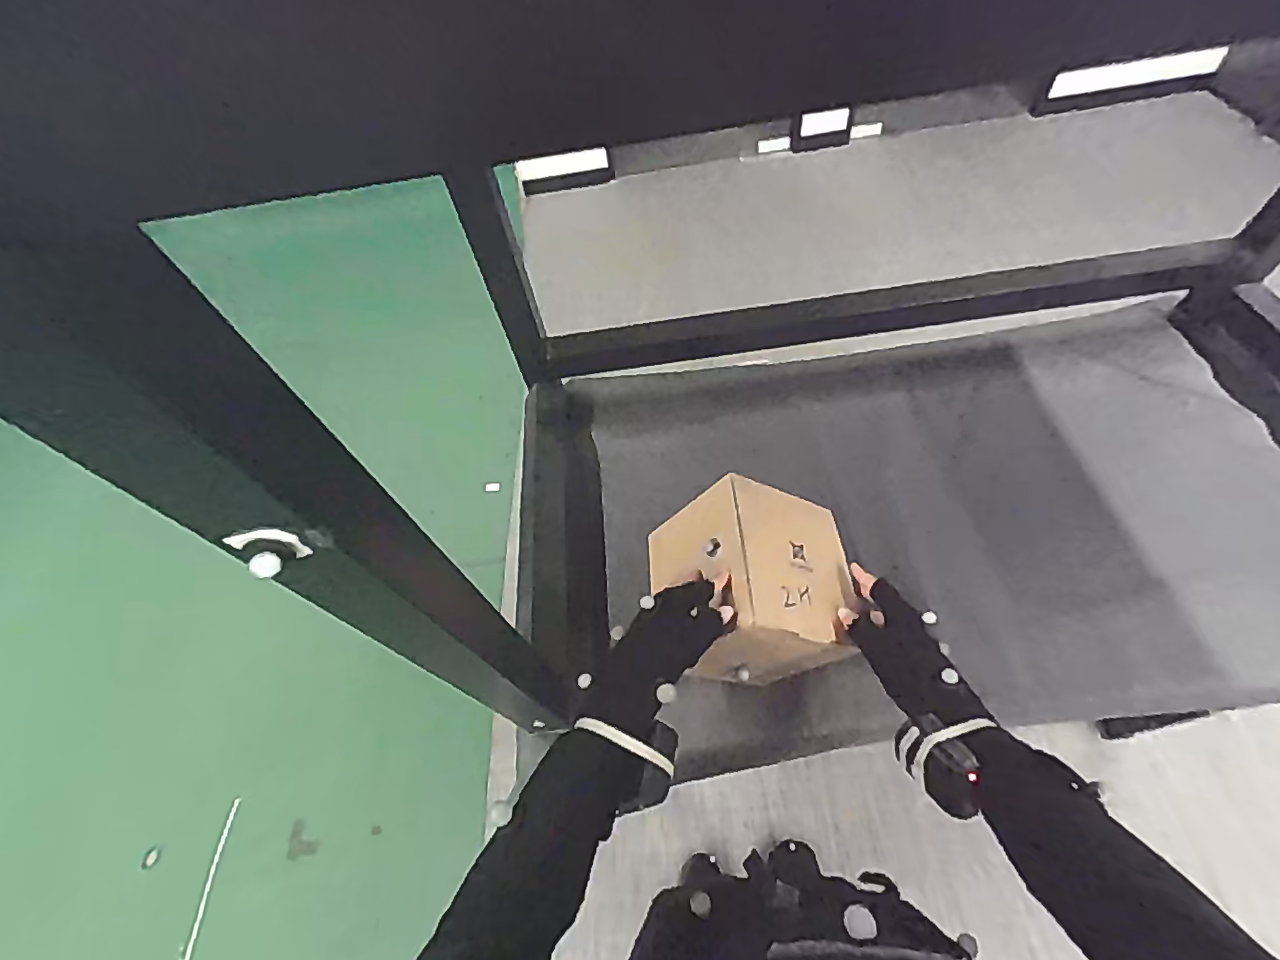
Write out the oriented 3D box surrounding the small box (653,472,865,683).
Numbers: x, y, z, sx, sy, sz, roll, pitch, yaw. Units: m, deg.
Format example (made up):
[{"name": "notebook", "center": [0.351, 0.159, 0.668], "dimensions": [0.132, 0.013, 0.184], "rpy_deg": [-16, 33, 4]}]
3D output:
[{"name": "small box", "center": [0.127, 0.123, 0.642], "dimensions": [0.168, 0.176, 0.179], "rpy_deg": [20, 50, -28]}]
